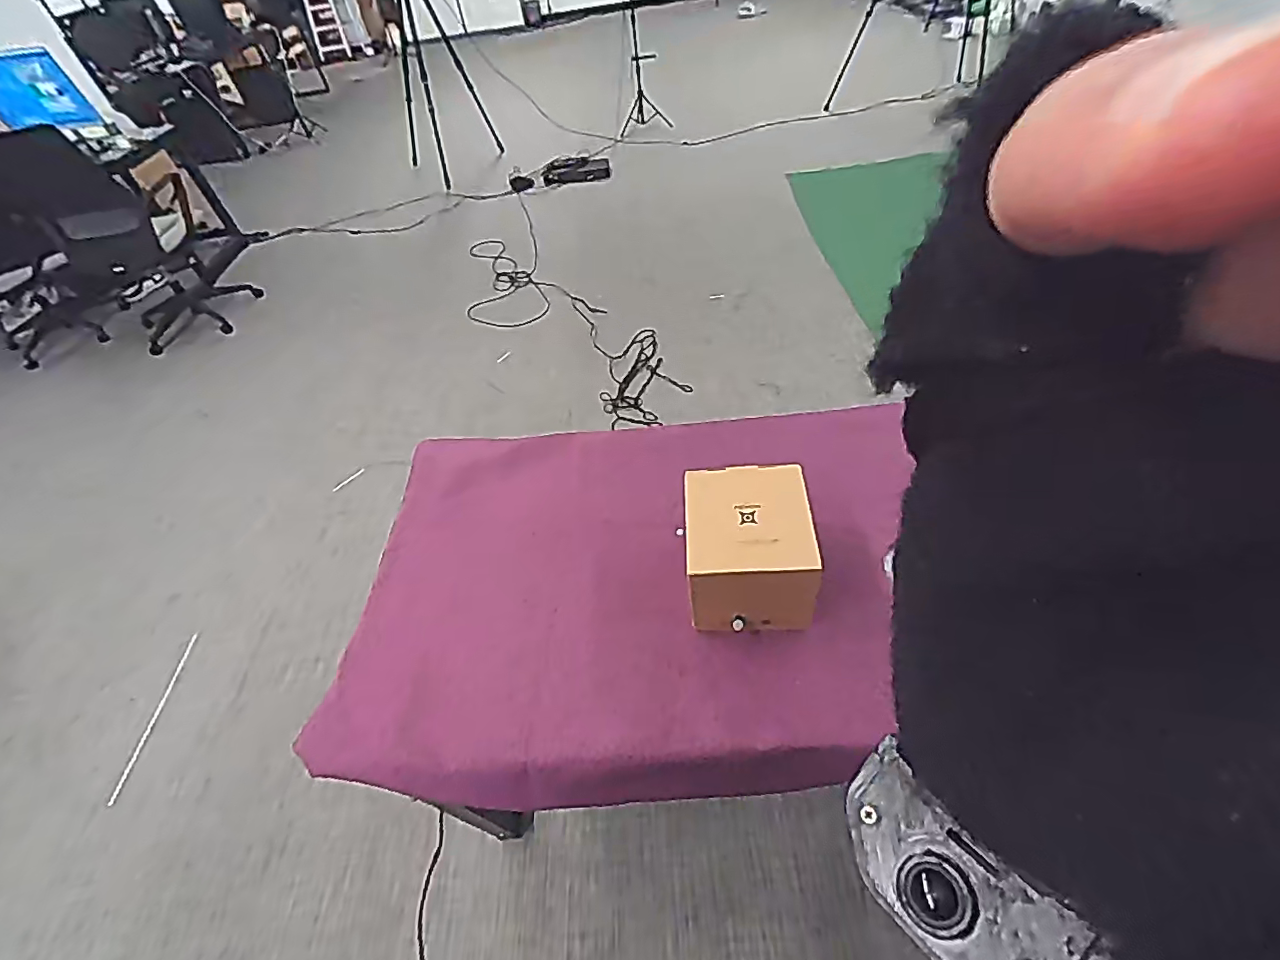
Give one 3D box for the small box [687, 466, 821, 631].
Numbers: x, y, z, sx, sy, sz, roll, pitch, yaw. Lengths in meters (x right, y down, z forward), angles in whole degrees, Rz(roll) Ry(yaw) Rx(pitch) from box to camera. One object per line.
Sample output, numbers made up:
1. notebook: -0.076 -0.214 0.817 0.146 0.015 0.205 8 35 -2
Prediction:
1. small box: 0.154 0.100 0.782 0.168 0.176 0.179 -3 49 7
